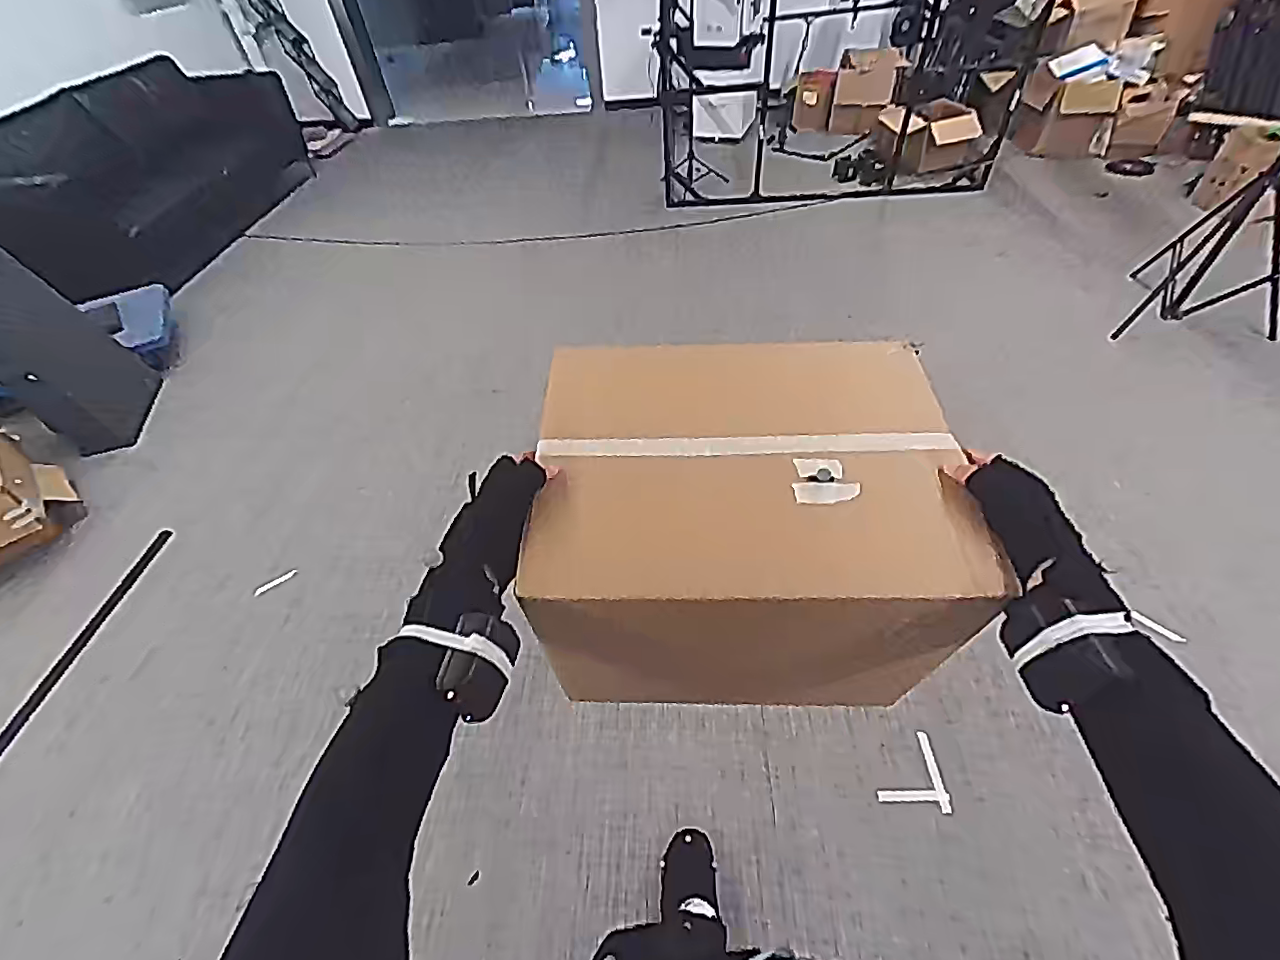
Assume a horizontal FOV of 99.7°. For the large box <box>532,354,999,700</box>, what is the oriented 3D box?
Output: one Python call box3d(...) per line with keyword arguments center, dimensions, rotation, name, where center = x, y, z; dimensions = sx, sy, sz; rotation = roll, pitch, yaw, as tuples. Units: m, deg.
box3d(center=(0.108, 0.067, 0.662), dimensions=(0.408, 0.320, 0.320), rotation=(0, 53, 2), name="large box")
